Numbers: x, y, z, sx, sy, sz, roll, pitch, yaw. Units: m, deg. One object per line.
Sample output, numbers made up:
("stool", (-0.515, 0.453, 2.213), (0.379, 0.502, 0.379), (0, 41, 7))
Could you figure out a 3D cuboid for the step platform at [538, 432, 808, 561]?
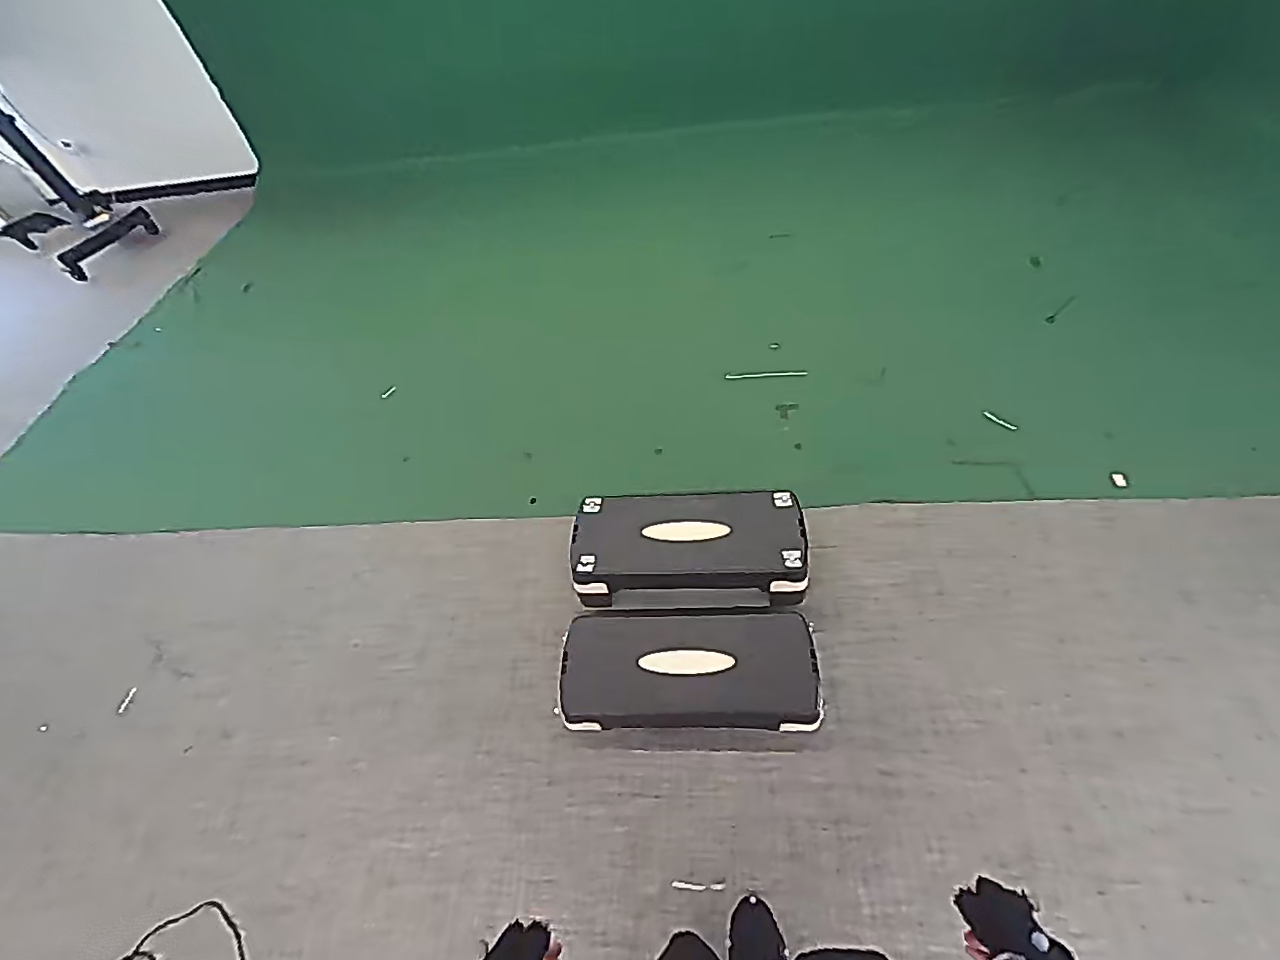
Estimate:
("step platform", (0.087, 0.049, 1.455), (0.684, 0.204, 0.286), (-3, 52, 7))
